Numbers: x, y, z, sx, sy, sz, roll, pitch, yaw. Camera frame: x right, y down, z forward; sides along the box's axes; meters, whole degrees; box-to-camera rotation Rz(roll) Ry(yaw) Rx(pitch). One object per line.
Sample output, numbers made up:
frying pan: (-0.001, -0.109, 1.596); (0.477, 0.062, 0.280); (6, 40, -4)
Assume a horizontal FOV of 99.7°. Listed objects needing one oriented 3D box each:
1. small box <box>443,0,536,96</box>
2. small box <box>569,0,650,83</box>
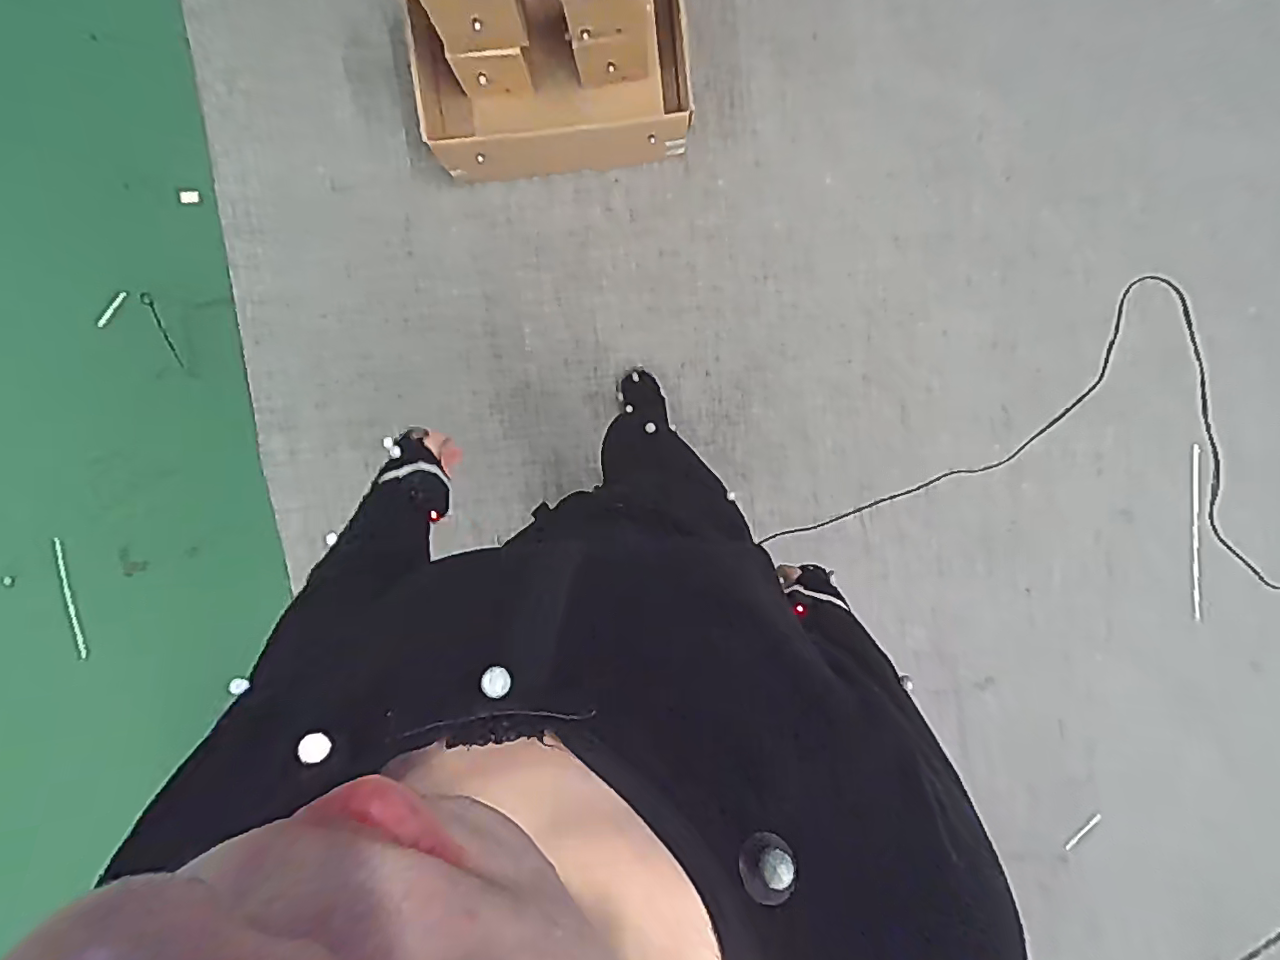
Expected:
small box: (-0.338, -1.014, 1.239); (0.168, 0.176, 0.179); (-2, 97, 0)
small box: (-0.066, -1.039, 1.228); (0.168, 0.176, 0.179); (-6, 98, 3)
